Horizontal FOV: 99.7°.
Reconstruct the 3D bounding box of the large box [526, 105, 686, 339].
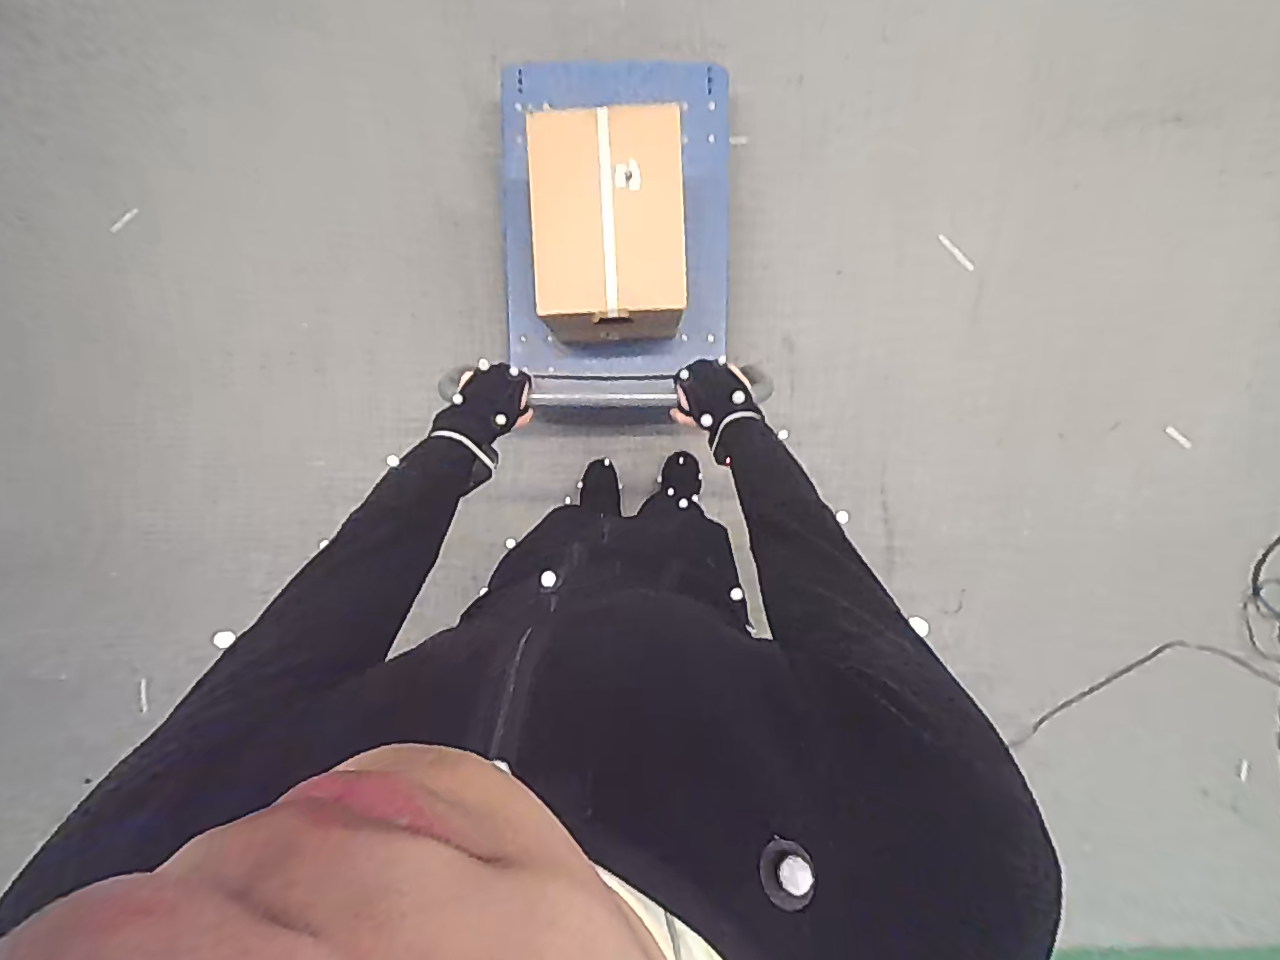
[{"bbox_3d":[-0.068,-0.565,1.259,0.320,0.320,0.408,-2,95,0],"label":"large box"}]
